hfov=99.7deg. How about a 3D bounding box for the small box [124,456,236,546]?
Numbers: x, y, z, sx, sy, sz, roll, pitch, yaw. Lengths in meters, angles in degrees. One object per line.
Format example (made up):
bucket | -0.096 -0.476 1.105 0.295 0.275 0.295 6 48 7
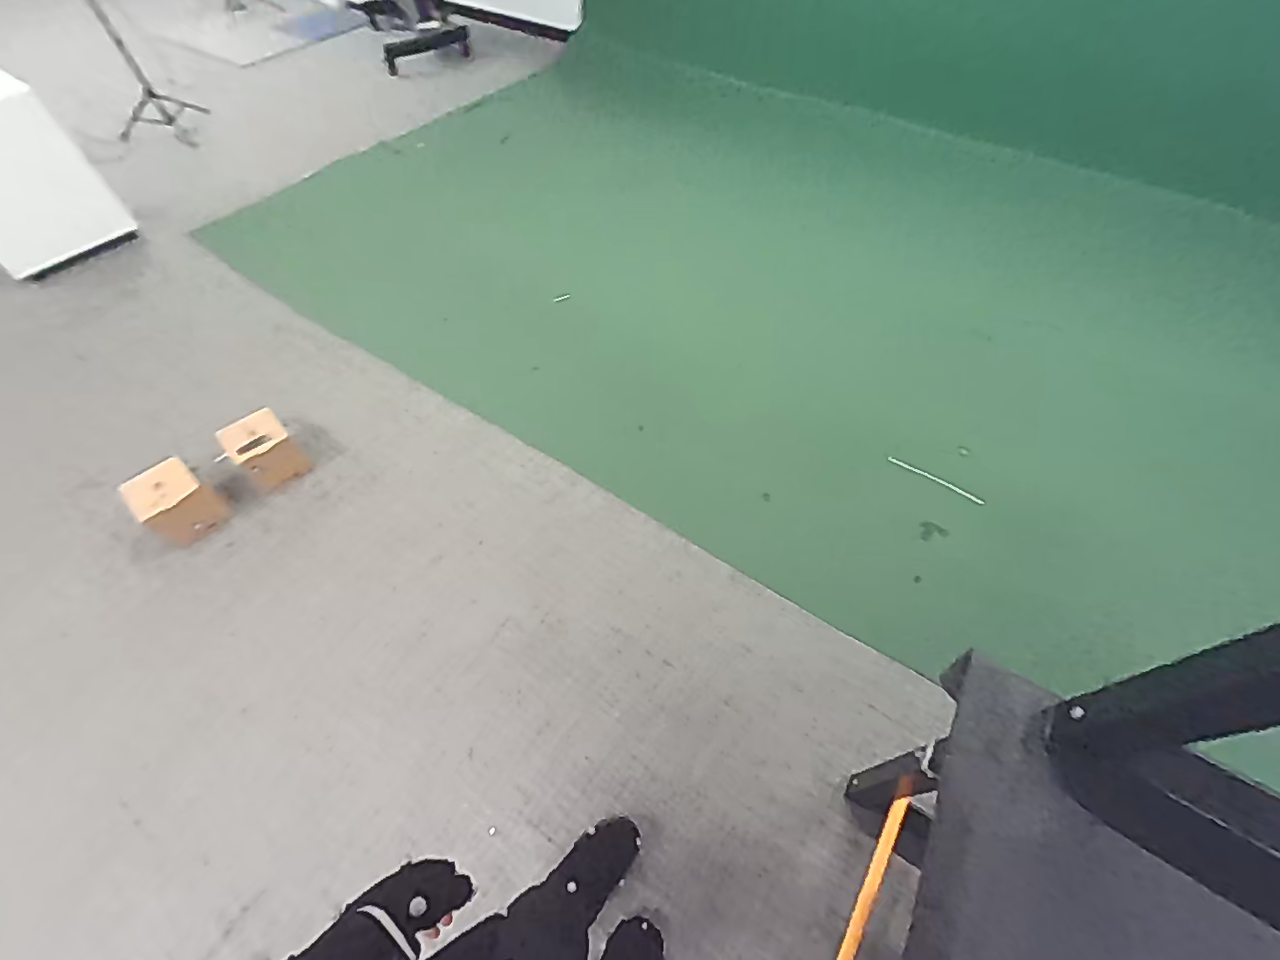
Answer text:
small box | -1.373 0.067 1.623 0.179 0.176 0.168 38 63 22
